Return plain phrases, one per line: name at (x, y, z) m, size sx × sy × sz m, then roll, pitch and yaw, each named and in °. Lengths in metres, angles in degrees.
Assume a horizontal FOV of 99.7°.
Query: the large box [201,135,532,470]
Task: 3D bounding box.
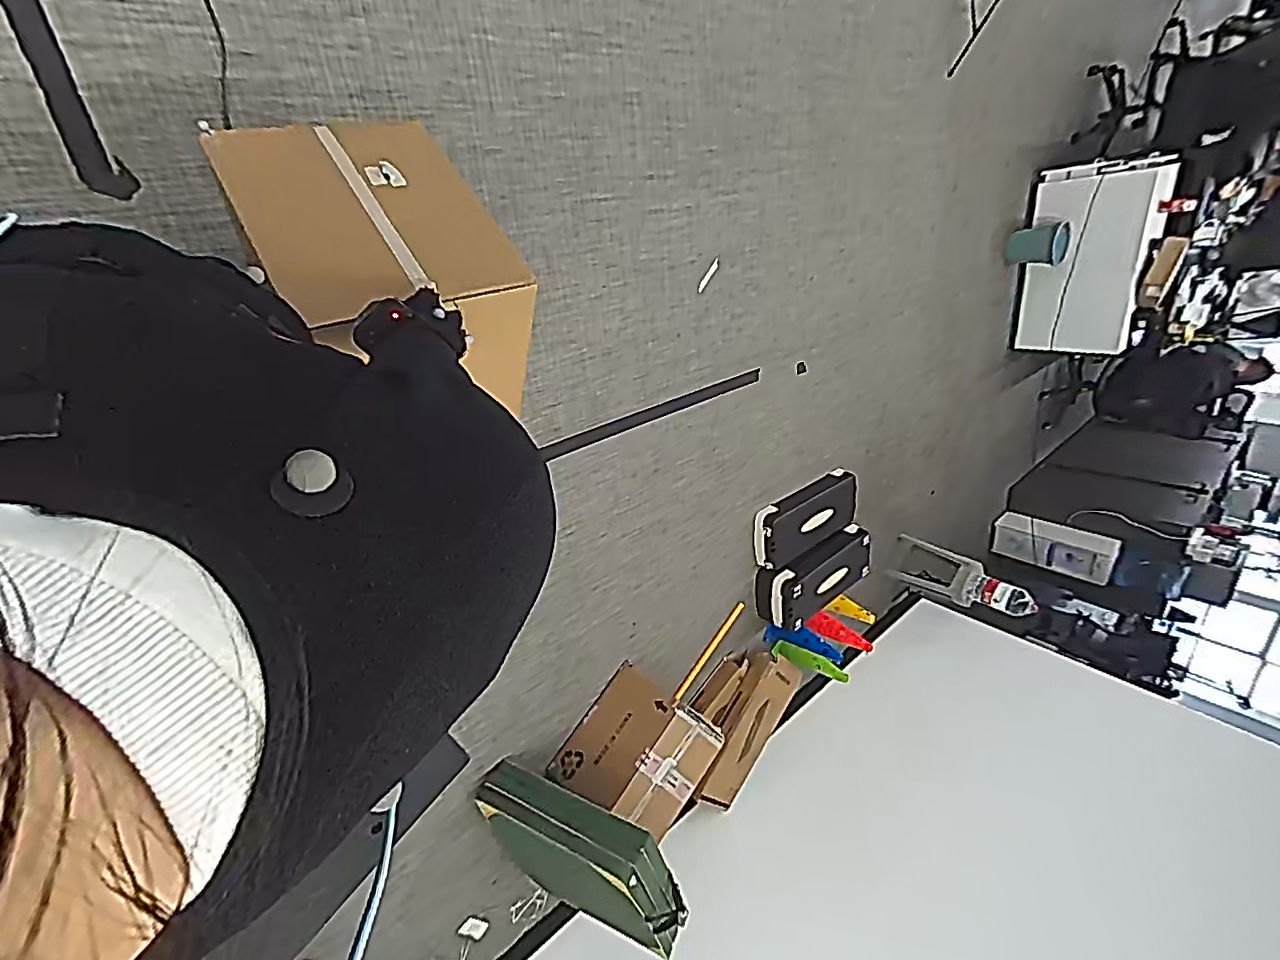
large box at (-0.424, -0.294, 0.890) m, size 0.320 × 0.408 × 0.320 m, roll -25°, pitch 158°, yaw -32°
